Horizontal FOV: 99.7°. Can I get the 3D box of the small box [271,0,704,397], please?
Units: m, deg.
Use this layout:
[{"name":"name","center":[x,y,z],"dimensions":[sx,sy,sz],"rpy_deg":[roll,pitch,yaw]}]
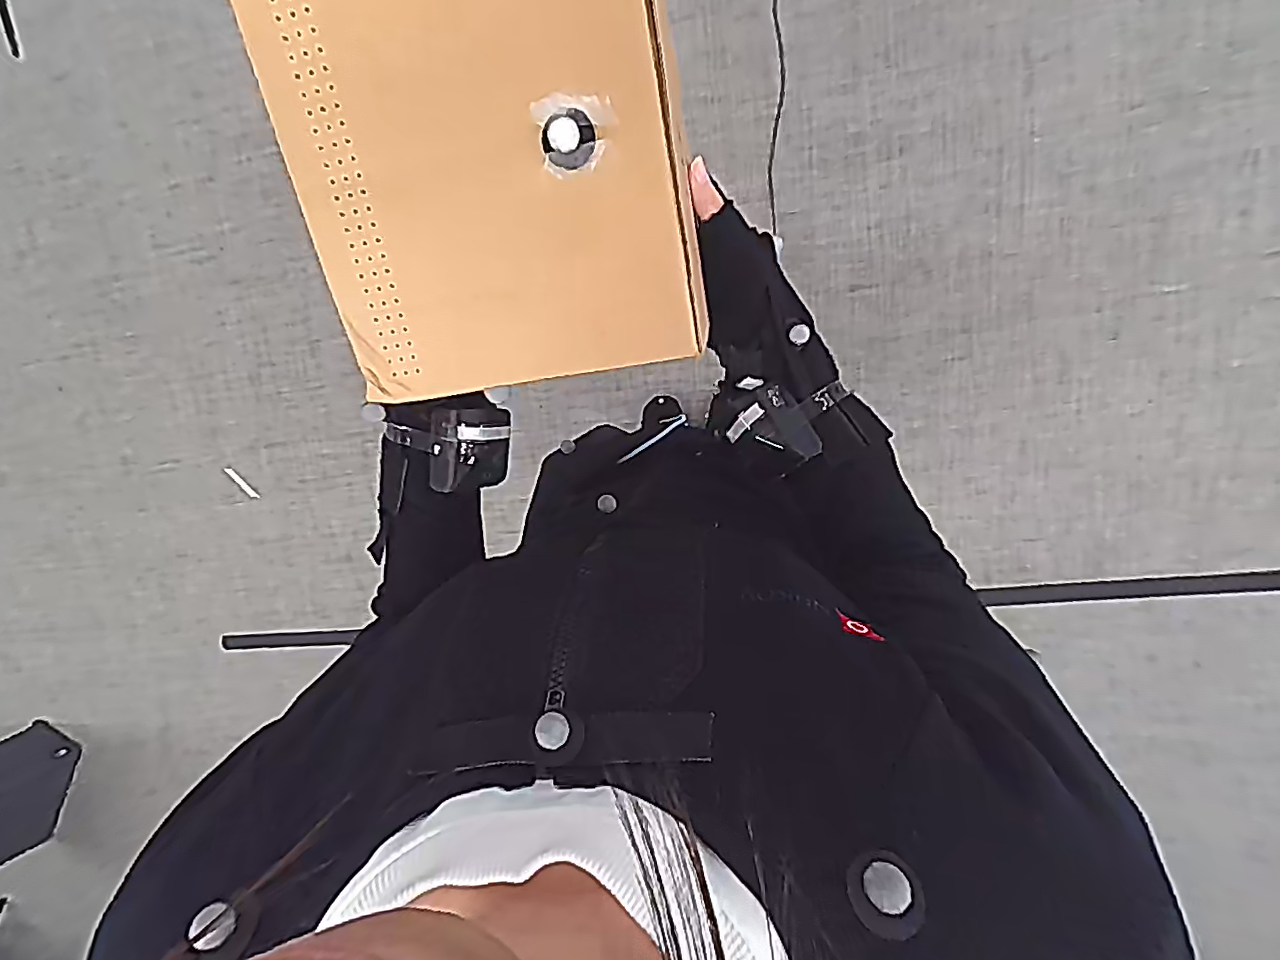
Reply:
[{"name":"small box","center":[-0.059,-0.158,0.309],"dimensions":[0.176,0.168,0.179],"rpy_deg":[-7,109,11]}]
